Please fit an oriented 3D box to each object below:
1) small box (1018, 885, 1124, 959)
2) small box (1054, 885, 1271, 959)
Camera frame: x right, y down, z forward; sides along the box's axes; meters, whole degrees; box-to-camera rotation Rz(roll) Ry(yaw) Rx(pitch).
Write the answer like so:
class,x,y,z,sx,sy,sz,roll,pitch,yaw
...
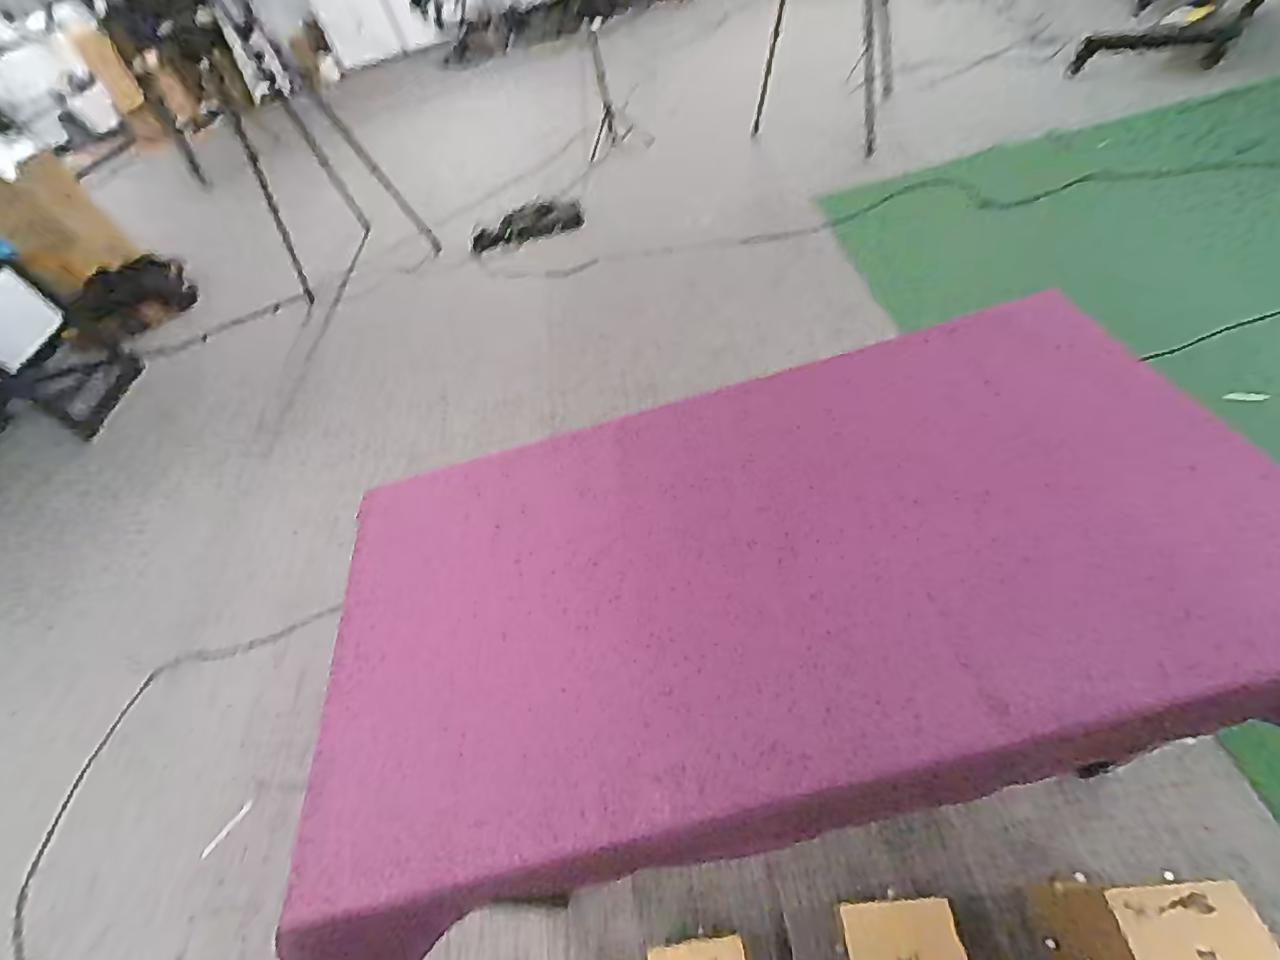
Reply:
class,x,y,z,sx,sy,sz,roll,pitch,yaw
small box,0.746,0.761,0.861,0.168,0.176,0.179,-7,49,10
small box,0.716,0.663,0.732,0.168,0.176,0.179,-9,51,7
